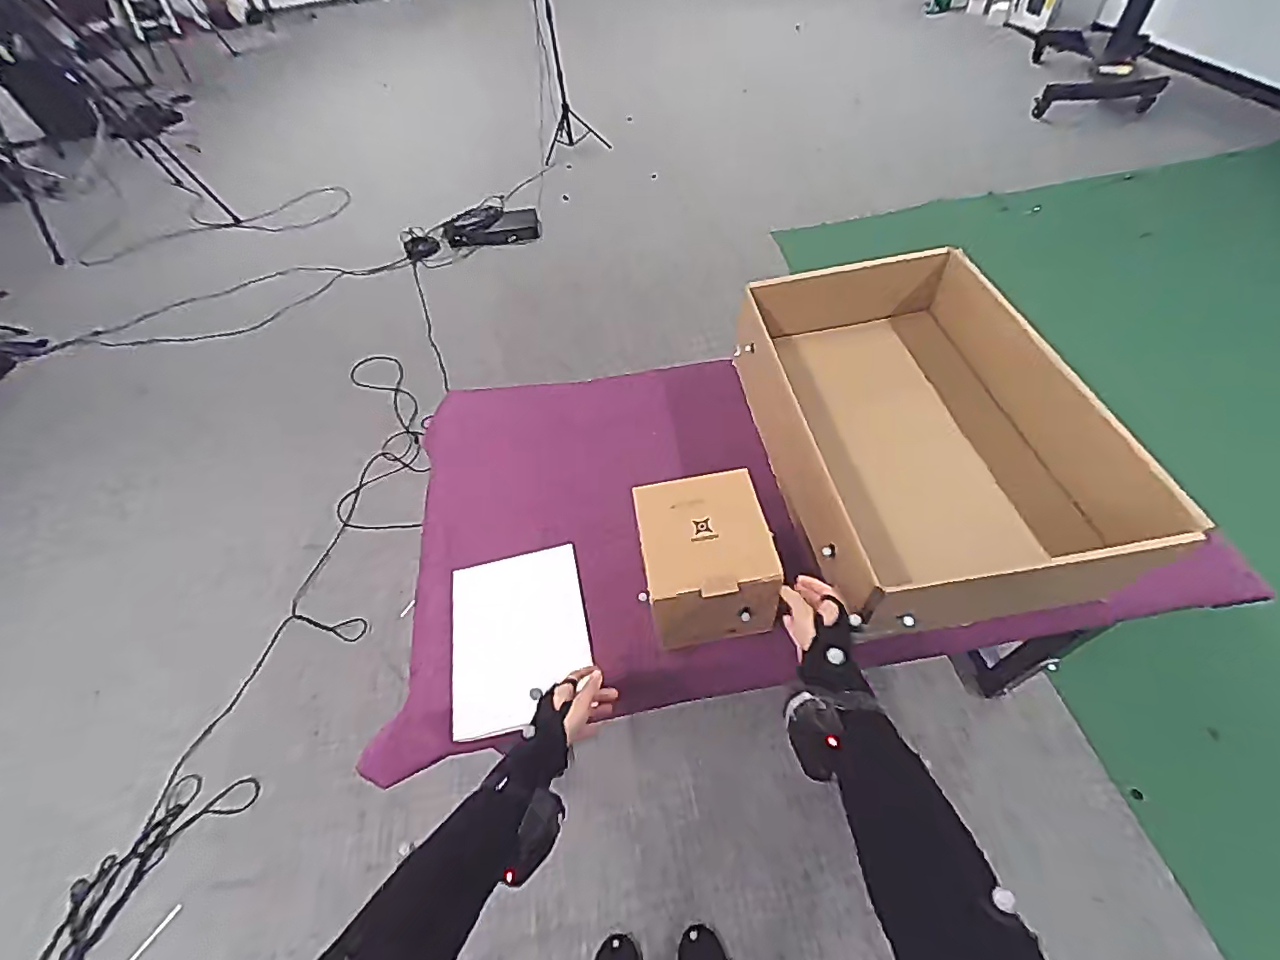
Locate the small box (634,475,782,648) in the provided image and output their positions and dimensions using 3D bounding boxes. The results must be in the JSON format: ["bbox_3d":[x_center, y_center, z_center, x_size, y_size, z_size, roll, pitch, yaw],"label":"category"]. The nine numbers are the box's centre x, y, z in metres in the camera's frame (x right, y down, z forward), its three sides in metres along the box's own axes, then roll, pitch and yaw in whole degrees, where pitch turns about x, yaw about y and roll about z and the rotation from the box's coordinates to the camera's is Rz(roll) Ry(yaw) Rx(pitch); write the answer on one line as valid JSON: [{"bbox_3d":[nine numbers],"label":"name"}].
[{"bbox_3d":[0.090,0.122,0.762,0.168,0.176,0.179,-9,50,-1],"label":"small box"}]
